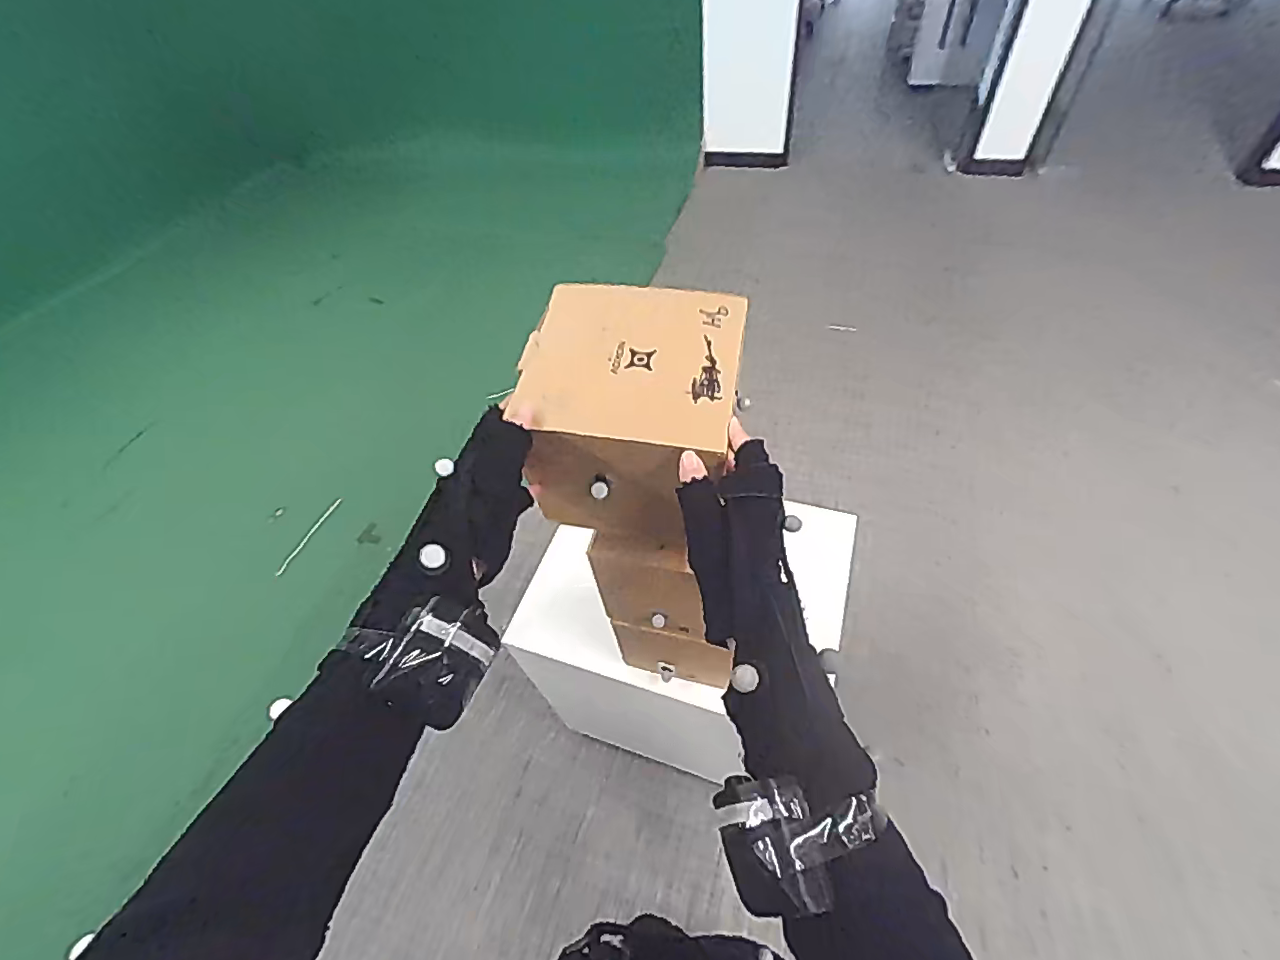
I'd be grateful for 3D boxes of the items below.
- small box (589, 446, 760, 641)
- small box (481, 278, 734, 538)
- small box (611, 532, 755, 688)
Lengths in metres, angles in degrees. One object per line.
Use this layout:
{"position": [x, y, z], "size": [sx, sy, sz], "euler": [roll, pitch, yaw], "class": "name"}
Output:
{"position": [0.050, 0.071, 0.664], "size": [0.168, 0.176, 0.179], "euler": [6, 52, 13], "class": "small box"}
{"position": [-0.013, -0.060, 0.497], "size": [0.179, 0.176, 0.168], "euler": [7, 61, 10], "class": "small box"}
{"position": [0.070, 0.177, 0.788], "size": [0.168, 0.176, 0.179], "euler": [7, 55, 15], "class": "small box"}
